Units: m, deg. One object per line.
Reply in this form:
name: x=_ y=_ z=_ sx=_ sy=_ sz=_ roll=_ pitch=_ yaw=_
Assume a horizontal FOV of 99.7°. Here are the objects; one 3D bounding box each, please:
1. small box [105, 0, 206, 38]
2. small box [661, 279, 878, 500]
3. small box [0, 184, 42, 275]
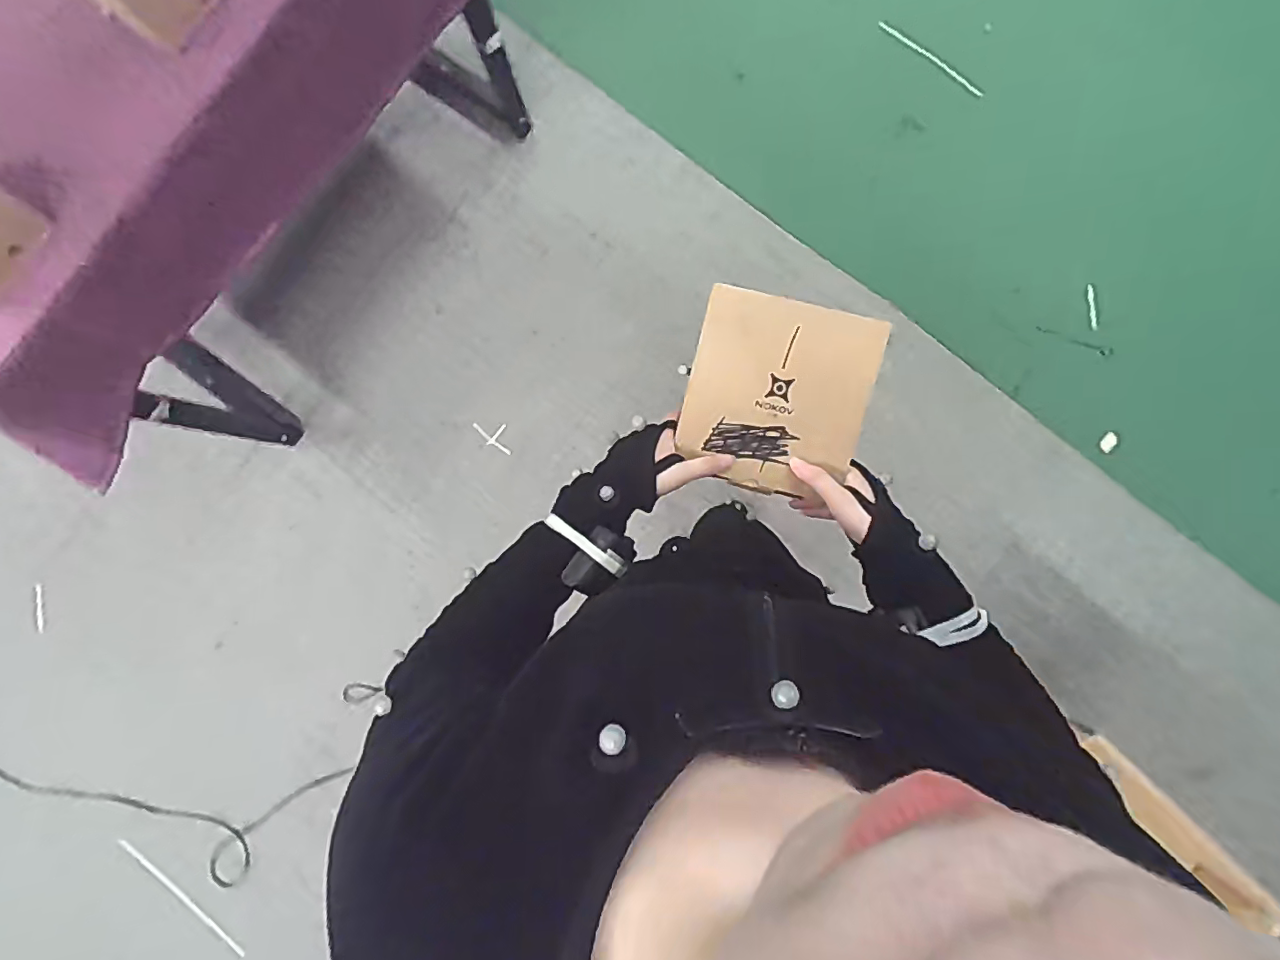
small box: x=-0.759 y=-0.797 z=0.778 sx=0.179 sy=0.176 sz=0.168 roll=37 pitch=88 yaw=3
small box: x=0.124 y=-0.093 z=0.581 sx=0.168 sy=0.176 sz=0.179 roll=13 pitch=98 yaw=2
small box: x=-1.034 y=-0.393 z=0.763 sx=0.179 sy=0.176 sz=0.168 roll=35 pitch=87 yaw=5
